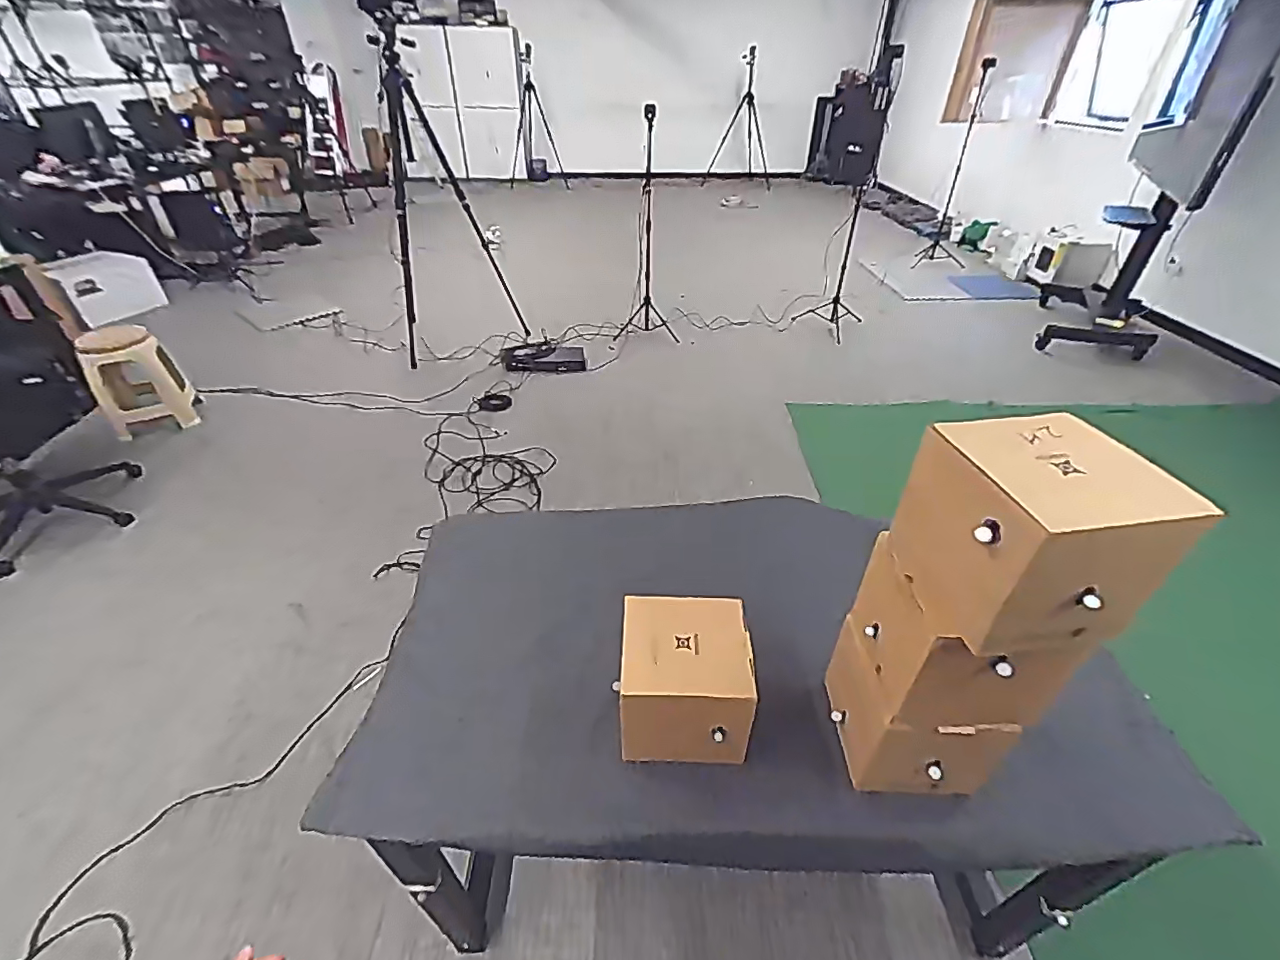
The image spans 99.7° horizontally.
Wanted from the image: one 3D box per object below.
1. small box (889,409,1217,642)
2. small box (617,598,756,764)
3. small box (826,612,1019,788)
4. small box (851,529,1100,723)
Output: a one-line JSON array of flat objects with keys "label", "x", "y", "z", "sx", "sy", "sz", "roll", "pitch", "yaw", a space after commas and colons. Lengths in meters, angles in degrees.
[{"label": "small box", "x": 0.388, "y": 0.048, "z": 0.553, "sx": 0.168, "sy": 0.176, "sz": 0.179, "roll": -6, "pitch": 37, "yaw": -7}, {"label": "small box", "x": 0.060, "y": 0.290, "z": 0.783, "sx": 0.179, "sy": 0.176, "sz": 0.168, "roll": -1, "pitch": 36, "yaw": 1}, {"label": "small box", "x": 0.374, "y": 0.307, "z": 0.755, "sx": 0.168, "sy": 0.176, "sz": 0.179, "roll": 0, "pitch": 37, "yaw": 2}, {"label": "small box", "x": 0.382, "y": 0.176, "z": 0.658, "sx": 0.179, "sy": 0.176, "sz": 0.168, "roll": -1, "pitch": 36, "yaw": 0}]
